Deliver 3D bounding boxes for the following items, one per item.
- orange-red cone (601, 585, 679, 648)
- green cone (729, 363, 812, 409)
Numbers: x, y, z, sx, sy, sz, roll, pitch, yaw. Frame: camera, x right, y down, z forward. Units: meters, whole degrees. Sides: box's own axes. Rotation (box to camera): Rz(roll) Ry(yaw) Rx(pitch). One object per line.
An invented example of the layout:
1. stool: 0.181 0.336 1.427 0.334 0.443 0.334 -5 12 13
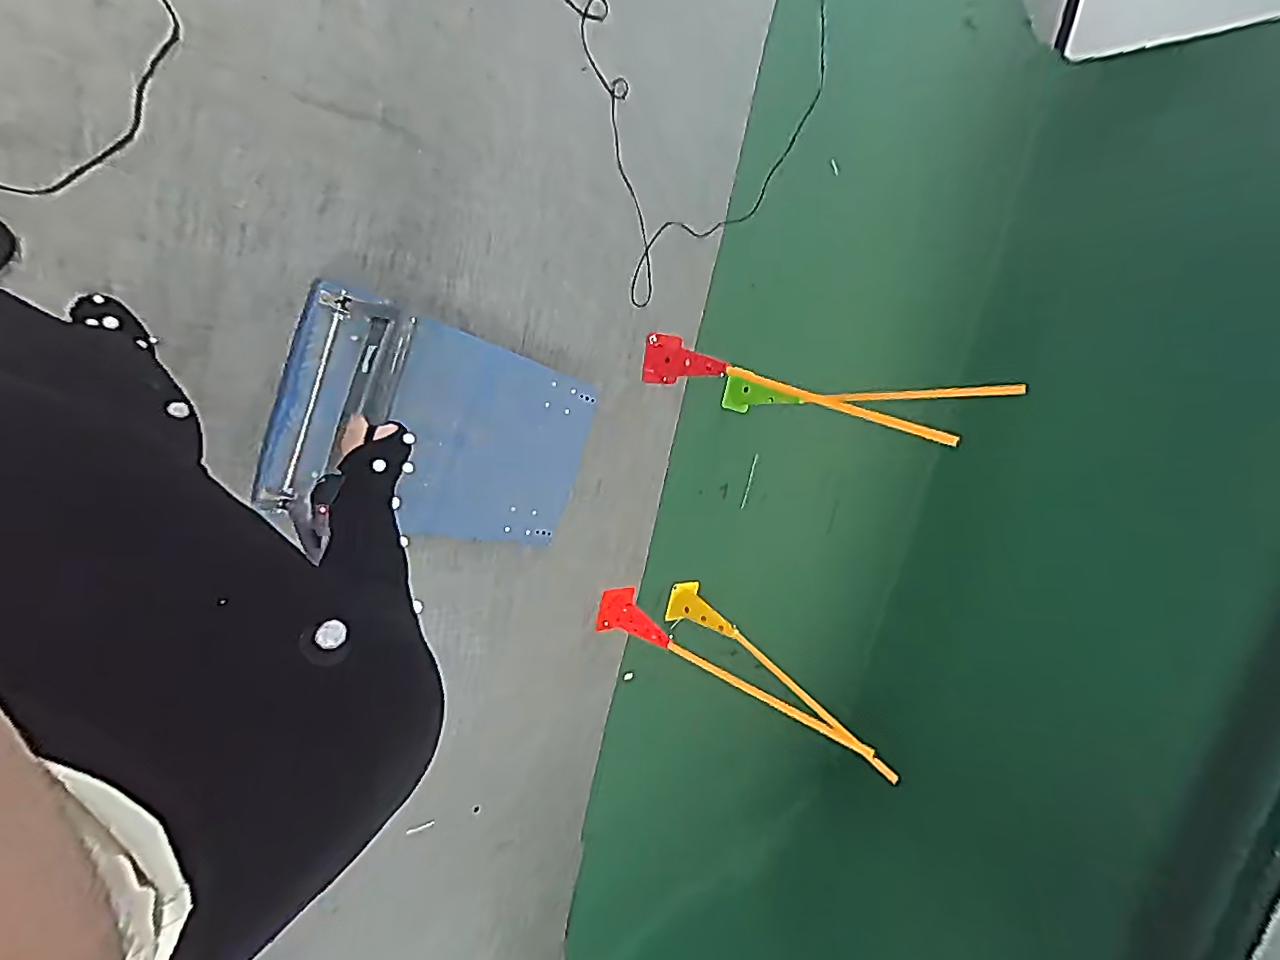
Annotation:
1. orange-red cone: 0.030 0.618 2.314 0.199 0.360 0.198 3 104 -45
2. green cone: 0.614 -0.406 2.474 0.202 0.368 0.200 3 102 -45
